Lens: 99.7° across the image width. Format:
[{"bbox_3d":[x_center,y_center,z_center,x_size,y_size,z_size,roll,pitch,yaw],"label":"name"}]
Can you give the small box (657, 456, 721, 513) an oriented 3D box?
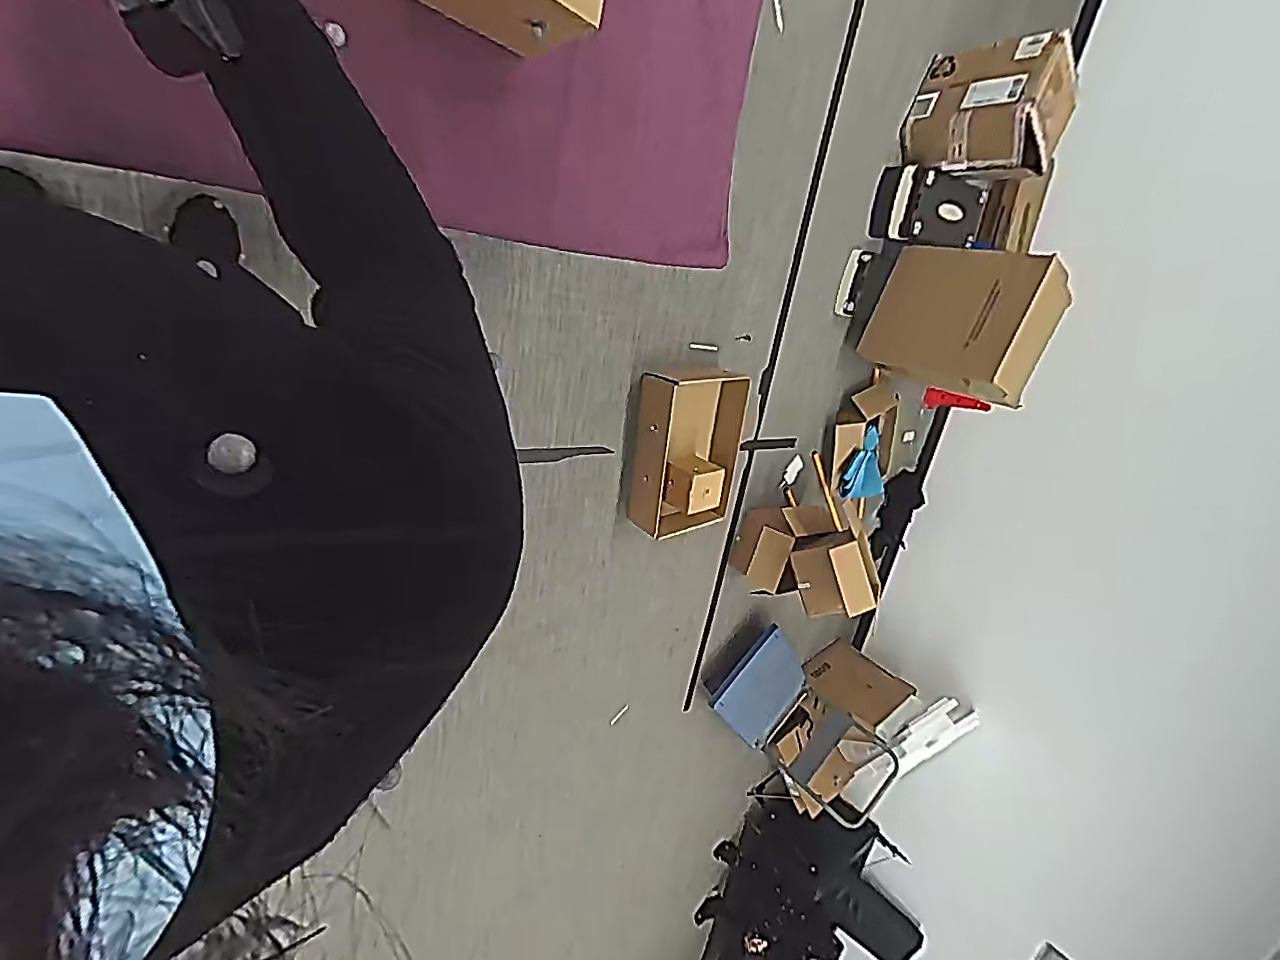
[{"bbox_3d":[0.192,0.011,2.146,0.179,0.176,0.168,-12,119,-37],"label":"small box"}]
